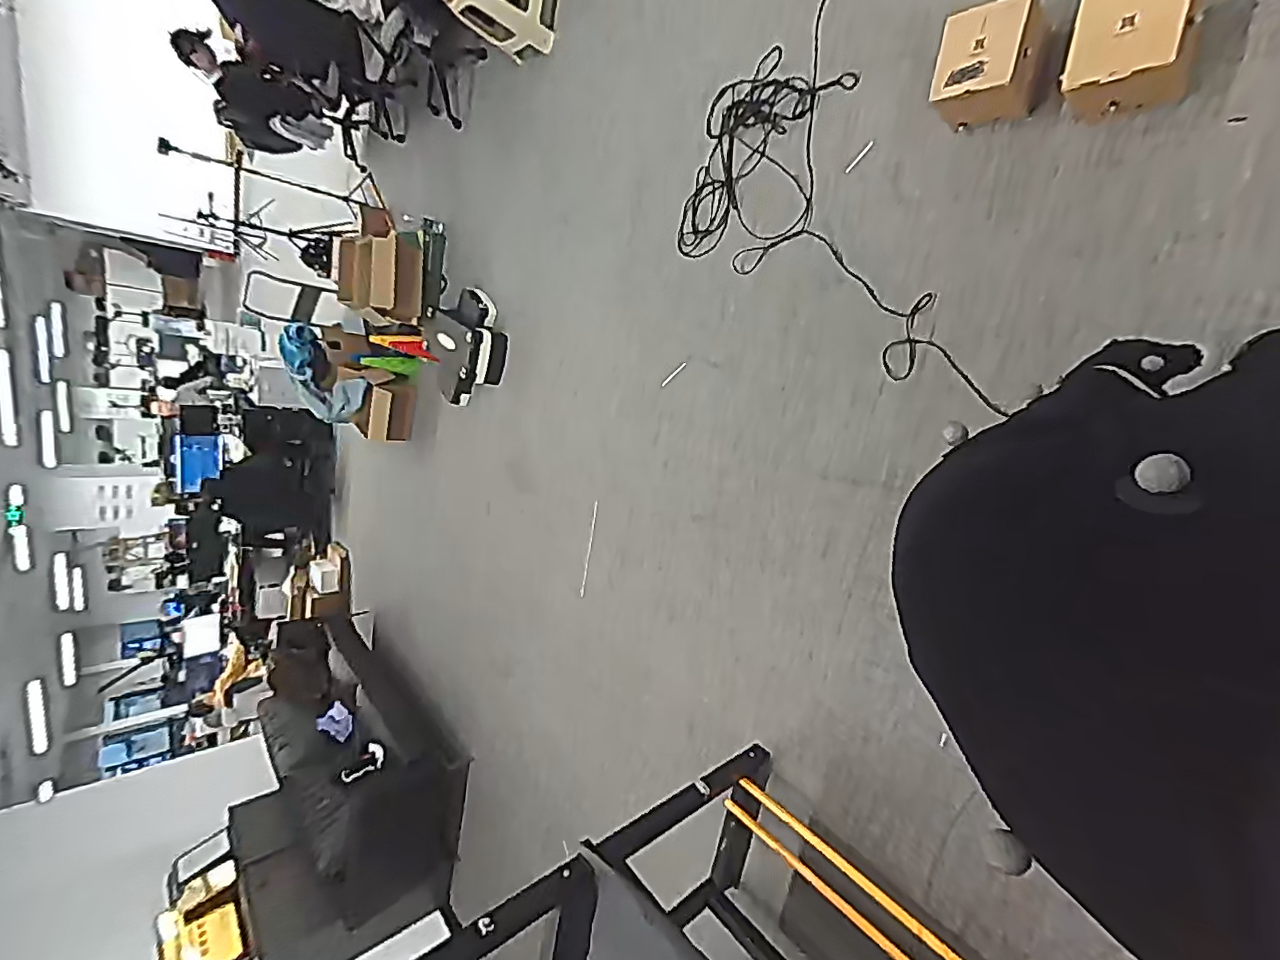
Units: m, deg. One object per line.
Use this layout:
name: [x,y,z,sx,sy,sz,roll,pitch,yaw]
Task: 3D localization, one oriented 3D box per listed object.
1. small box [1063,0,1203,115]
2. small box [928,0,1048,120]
small box: [0.946,-0.847,1.037,0.168,0.176,0.179,17,106,46]
small box: [0.779,-0.938,1.207,0.168,0.176,0.179,20,106,44]
